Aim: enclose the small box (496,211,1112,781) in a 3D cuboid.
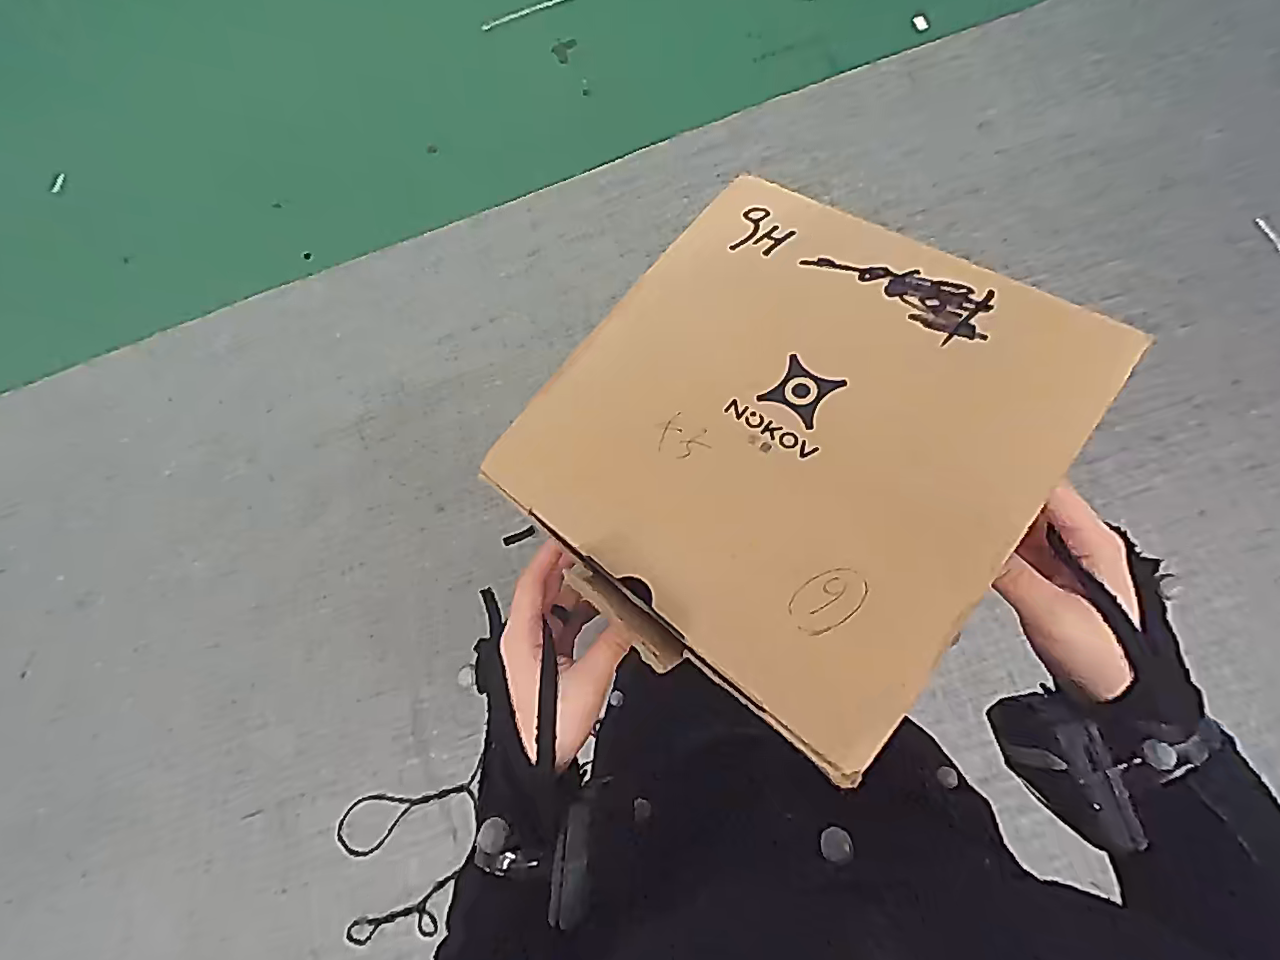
[{"bbox_3d":[0.069,0.013,0.278,0.168,0.176,0.179,36,80,22],"label":"small box"}]
